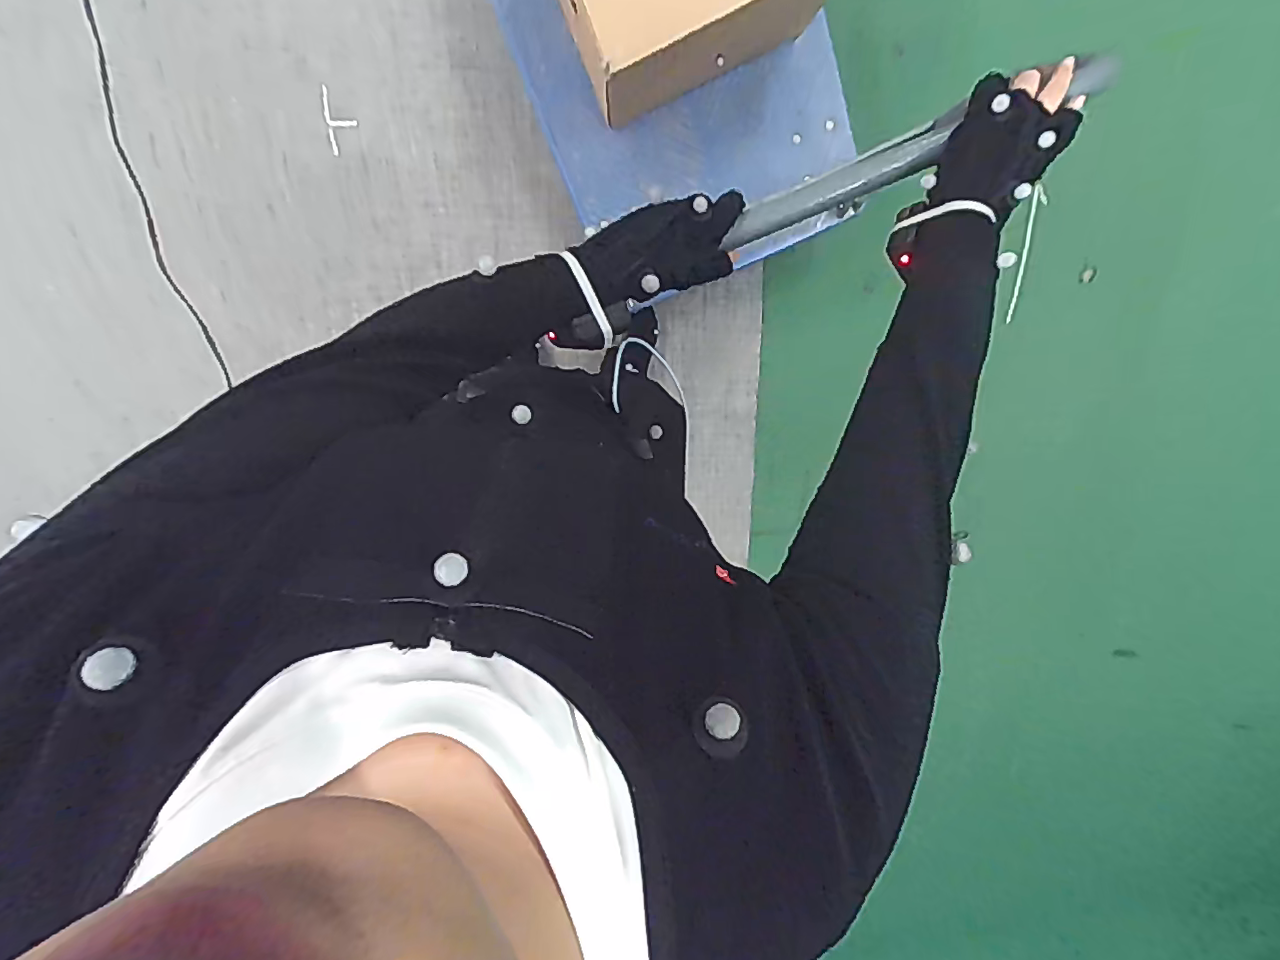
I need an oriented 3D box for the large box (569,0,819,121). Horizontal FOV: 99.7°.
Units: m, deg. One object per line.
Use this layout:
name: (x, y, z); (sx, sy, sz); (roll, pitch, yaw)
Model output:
large box: (0.078, -0.865, 0.870); (0.408, 0.320, 0.320); (-23, 109, 7)
